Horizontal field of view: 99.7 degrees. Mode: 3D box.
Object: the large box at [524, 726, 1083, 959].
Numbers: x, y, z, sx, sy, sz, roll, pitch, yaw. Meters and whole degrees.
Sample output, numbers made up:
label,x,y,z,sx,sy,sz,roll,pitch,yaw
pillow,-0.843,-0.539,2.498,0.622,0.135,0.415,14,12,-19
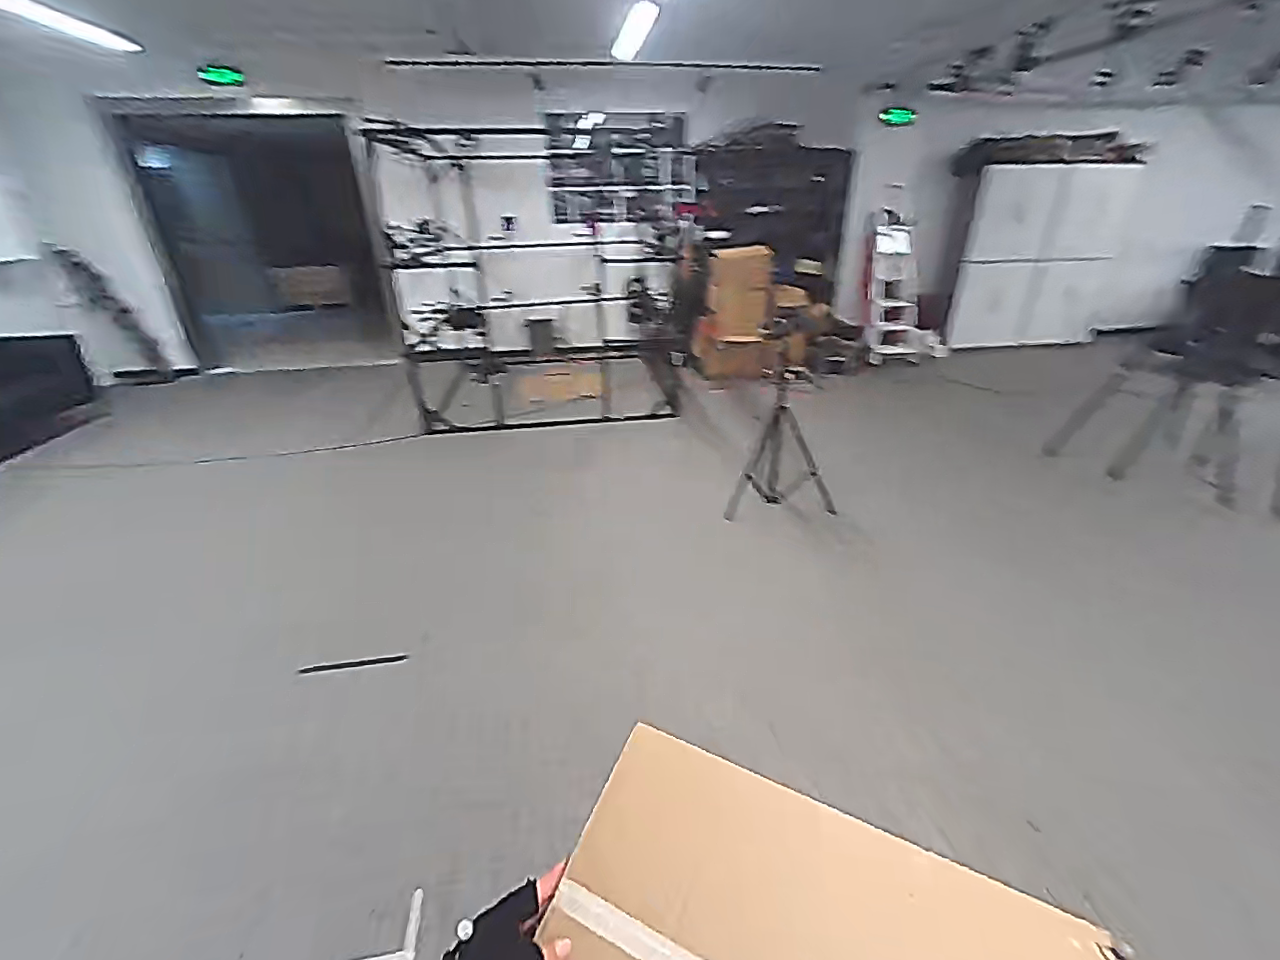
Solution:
label,x,y,z,sx,sy,sz,roll,pitch,yaw
large box,0.117,0.505,0.502,0.408,0.320,0.320,14,47,21
